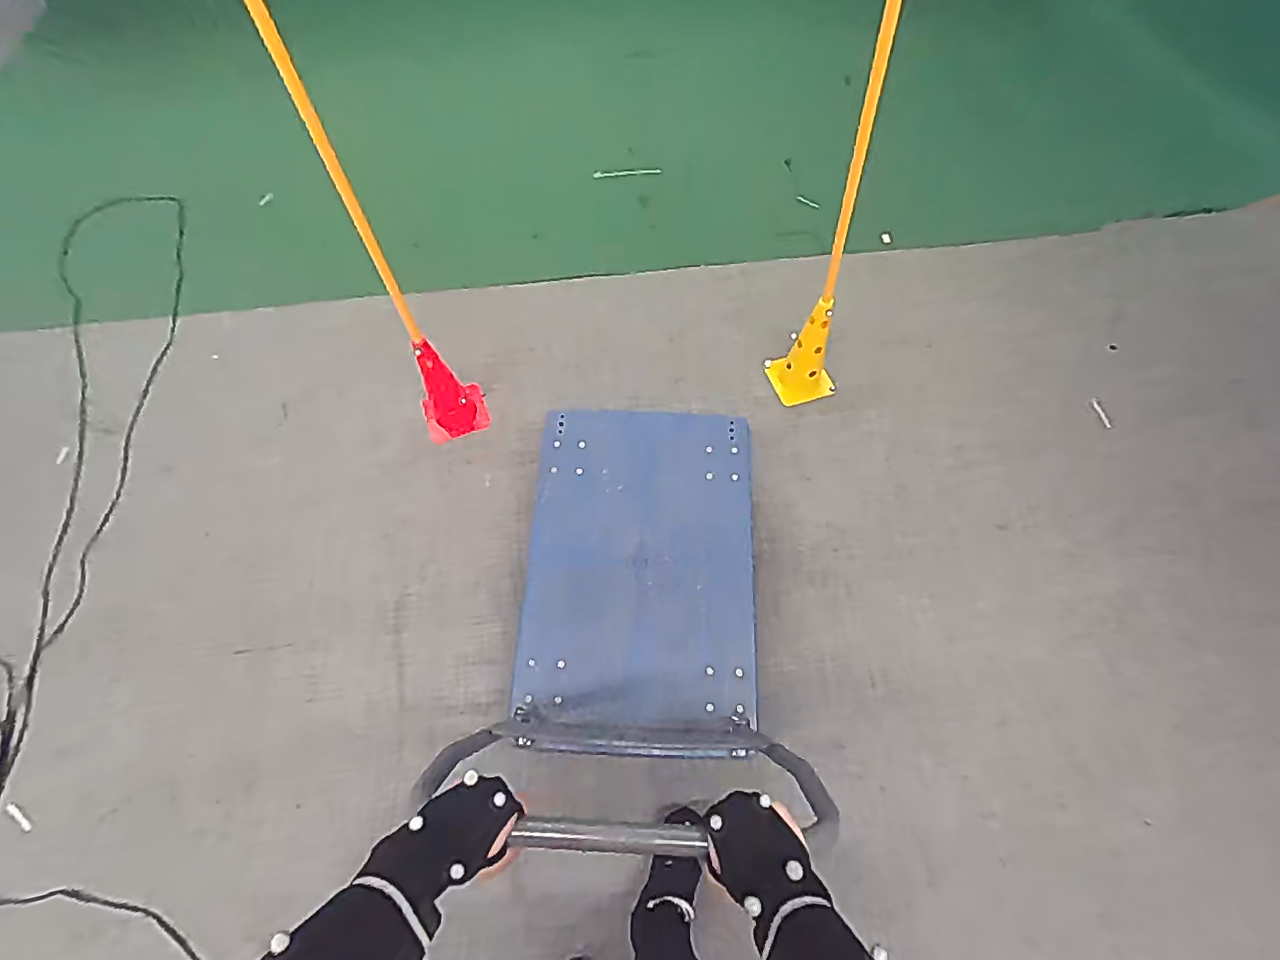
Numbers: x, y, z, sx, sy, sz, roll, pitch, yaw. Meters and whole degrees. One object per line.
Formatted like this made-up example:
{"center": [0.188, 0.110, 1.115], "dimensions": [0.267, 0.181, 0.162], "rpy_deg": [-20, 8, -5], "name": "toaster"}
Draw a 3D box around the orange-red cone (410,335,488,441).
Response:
{"center": [-0.628, -0.311, 1.675], "dimensions": [0.199, 0.360, 0.198], "rpy_deg": [-20, 63, -8], "name": "orange-red cone"}
